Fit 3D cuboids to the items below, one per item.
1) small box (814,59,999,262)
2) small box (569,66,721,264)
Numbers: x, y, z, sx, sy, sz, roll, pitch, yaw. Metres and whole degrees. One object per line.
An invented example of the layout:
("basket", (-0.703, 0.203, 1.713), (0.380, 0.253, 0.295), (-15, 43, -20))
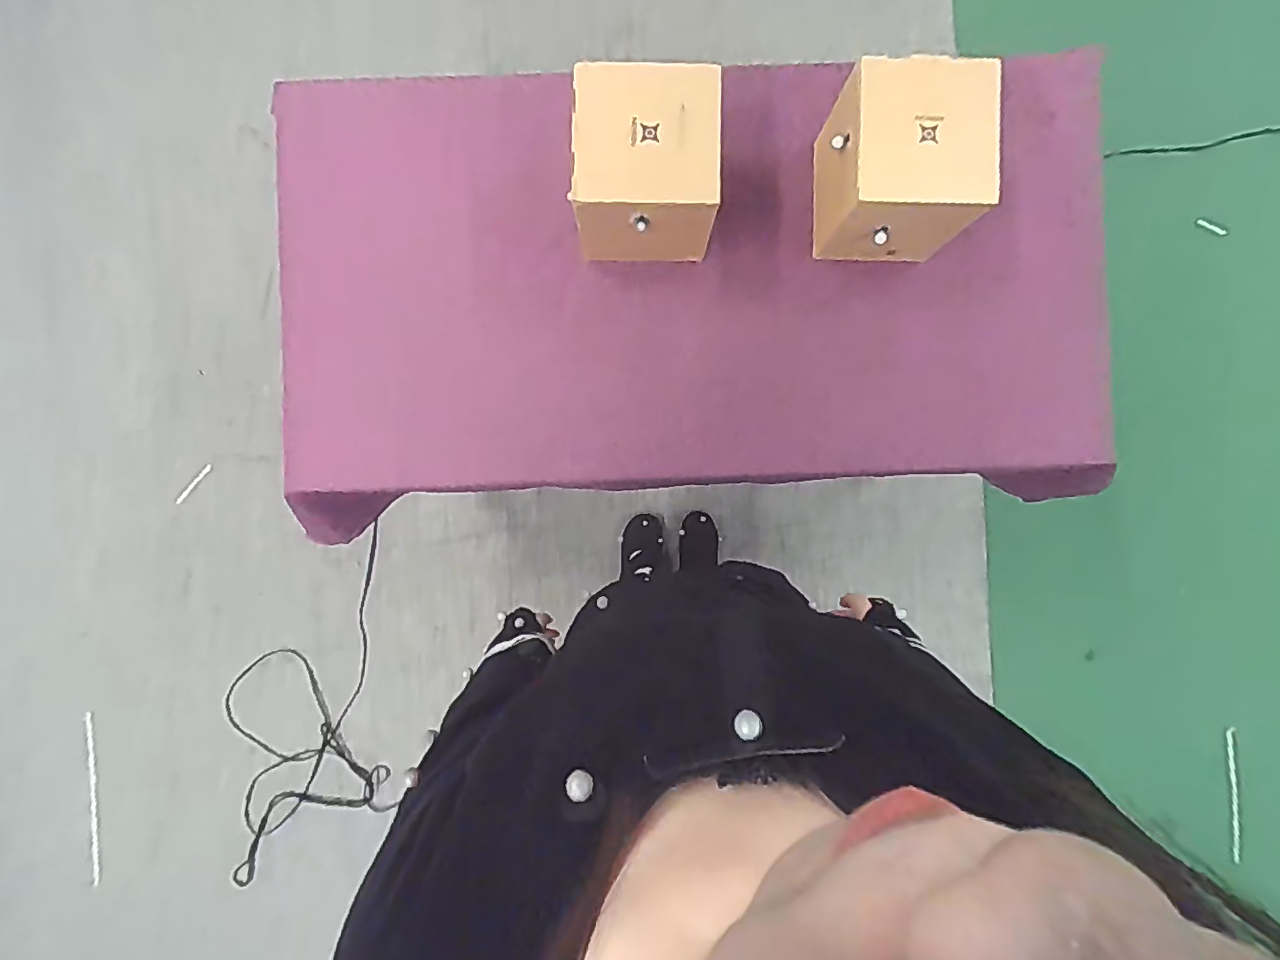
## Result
("small box", (0.335, -0.403, 0.709), (0.168, 0.176, 0.179), (1, 88, 1))
("small box", (0.007, -0.400, 0.712), (0.179, 0.176, 0.168), (1, 89, 0))
